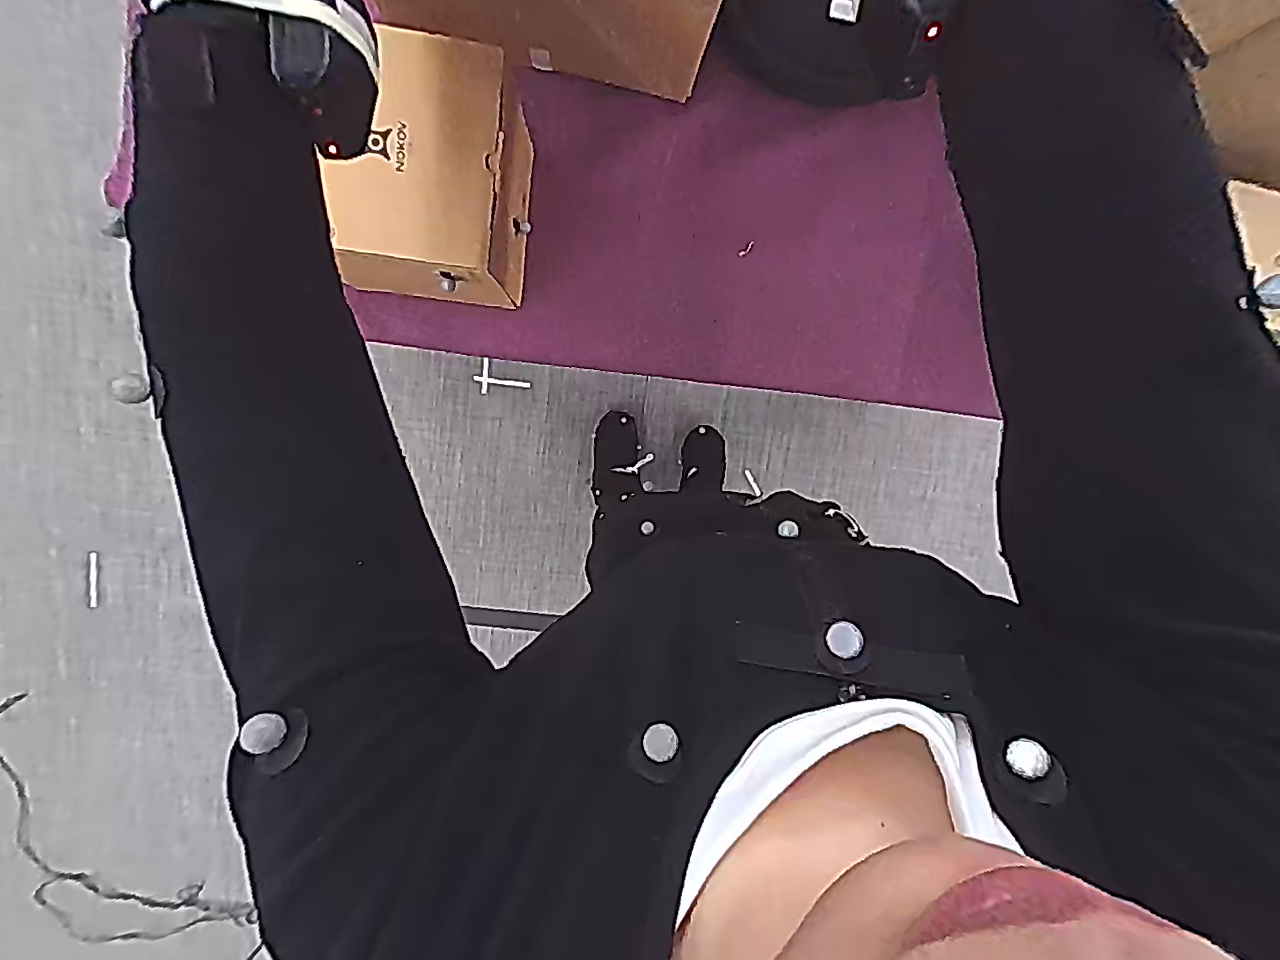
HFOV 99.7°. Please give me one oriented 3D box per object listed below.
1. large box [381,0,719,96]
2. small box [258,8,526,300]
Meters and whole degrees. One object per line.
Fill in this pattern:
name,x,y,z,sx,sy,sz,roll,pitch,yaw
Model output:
large box,-0.056,-0.593,0.384,0.320,0.320,0.408,8,101,-6
small box,-0.207,-0.270,0.494,0.179,0.176,0.168,5,98,-6
